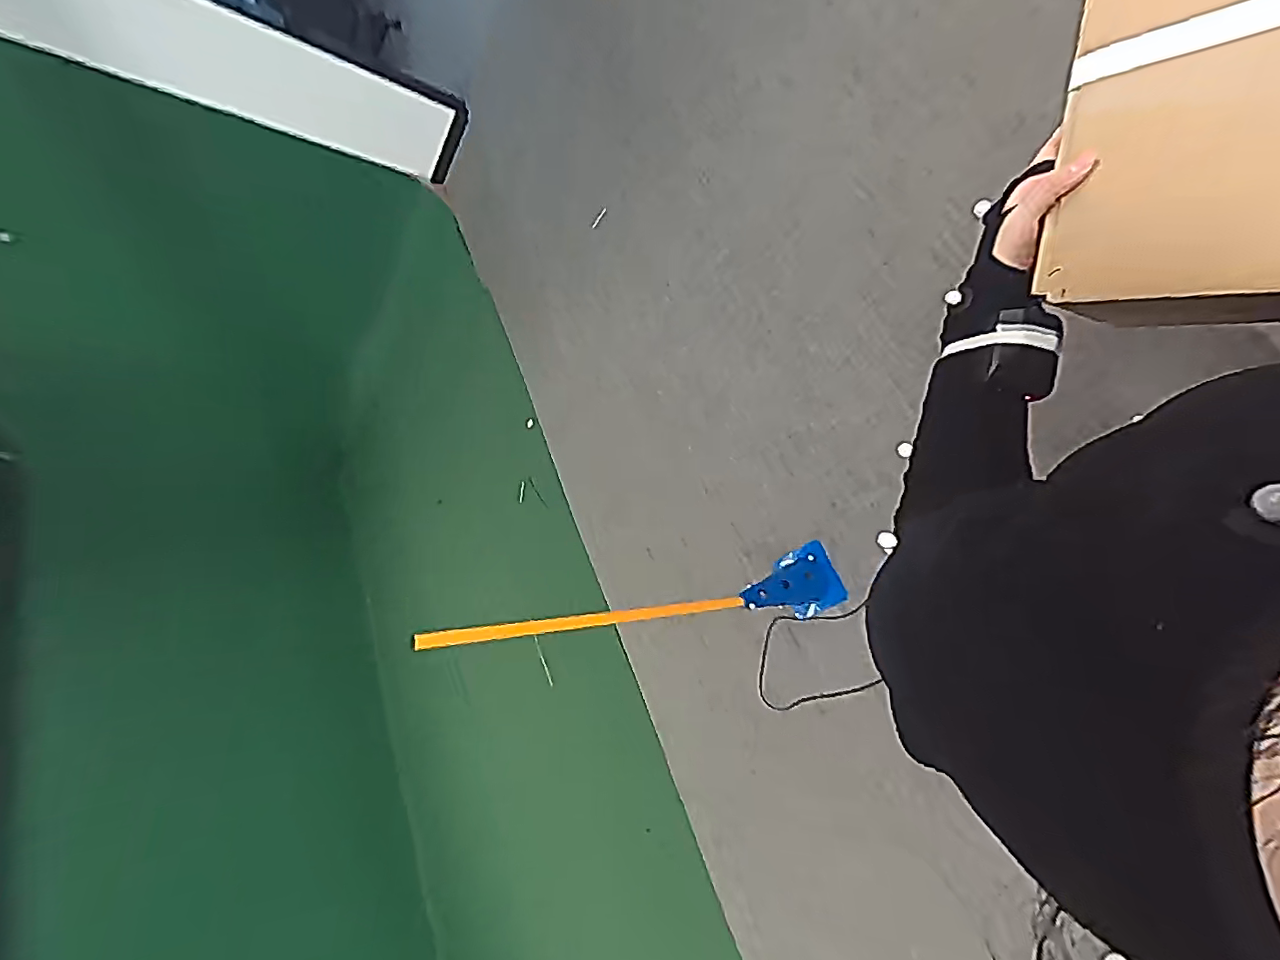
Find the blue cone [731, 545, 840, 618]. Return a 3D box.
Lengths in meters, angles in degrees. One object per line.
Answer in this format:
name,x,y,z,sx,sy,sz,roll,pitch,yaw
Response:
blue cone,0.385,0.321,1.561,0.192,0.380,0.193,-44,61,38
